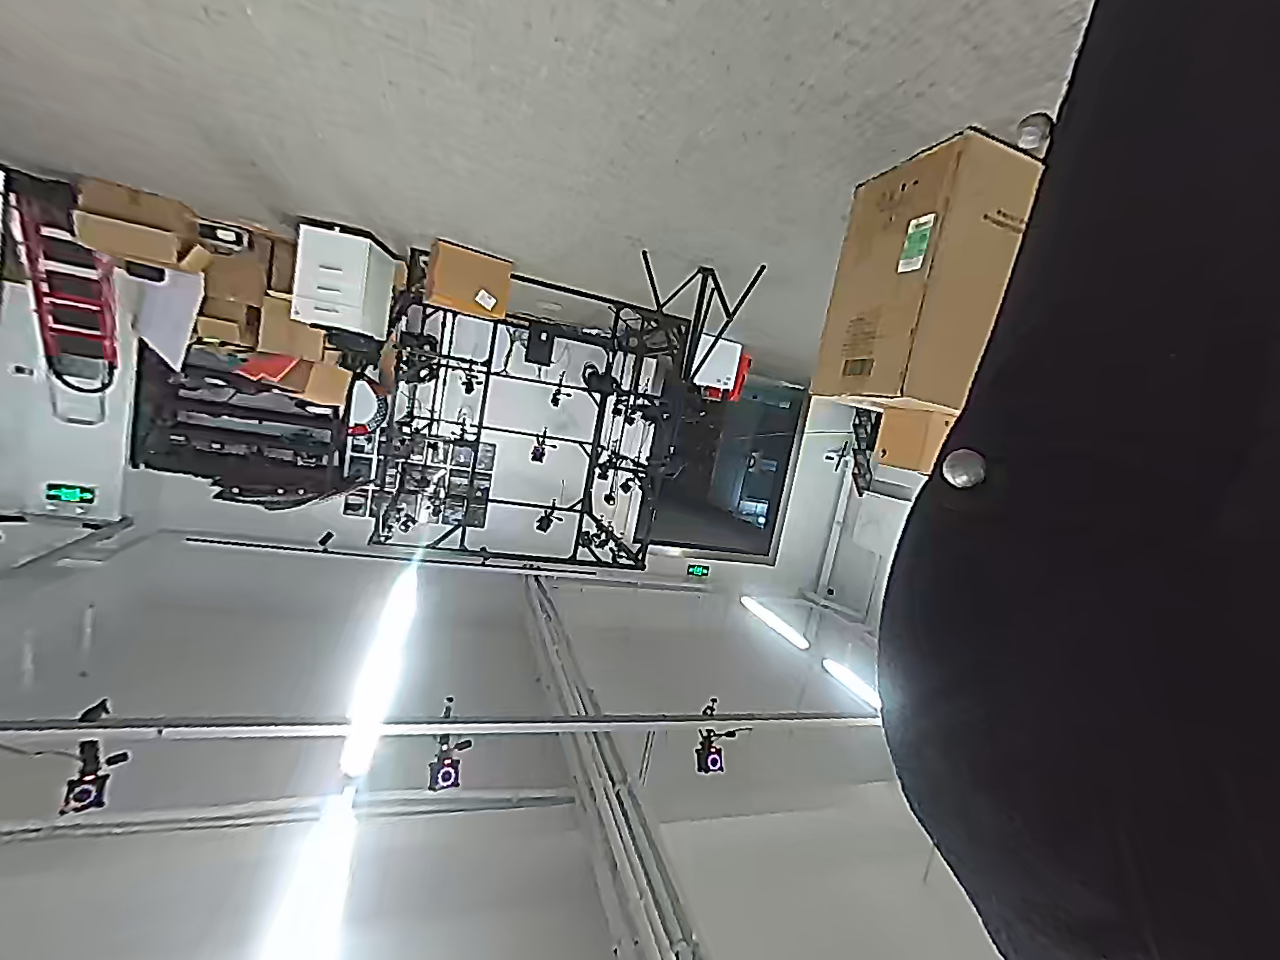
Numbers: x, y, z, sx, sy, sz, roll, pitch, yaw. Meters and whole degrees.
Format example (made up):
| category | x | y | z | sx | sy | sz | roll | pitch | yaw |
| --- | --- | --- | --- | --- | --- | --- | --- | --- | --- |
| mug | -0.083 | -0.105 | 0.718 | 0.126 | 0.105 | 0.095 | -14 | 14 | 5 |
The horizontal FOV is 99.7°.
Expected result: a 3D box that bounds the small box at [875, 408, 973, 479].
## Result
| category | x | y | z | sx | sy | sz | roll | pitch | yaw |
| --- | --- | --- | --- | --- | --- | --- | --- | --- | --- |
| small box | 0.797 | -0.106 | 1.515 | 0.168 | 0.176 | 0.179 | 8 | -172 | -20 |
